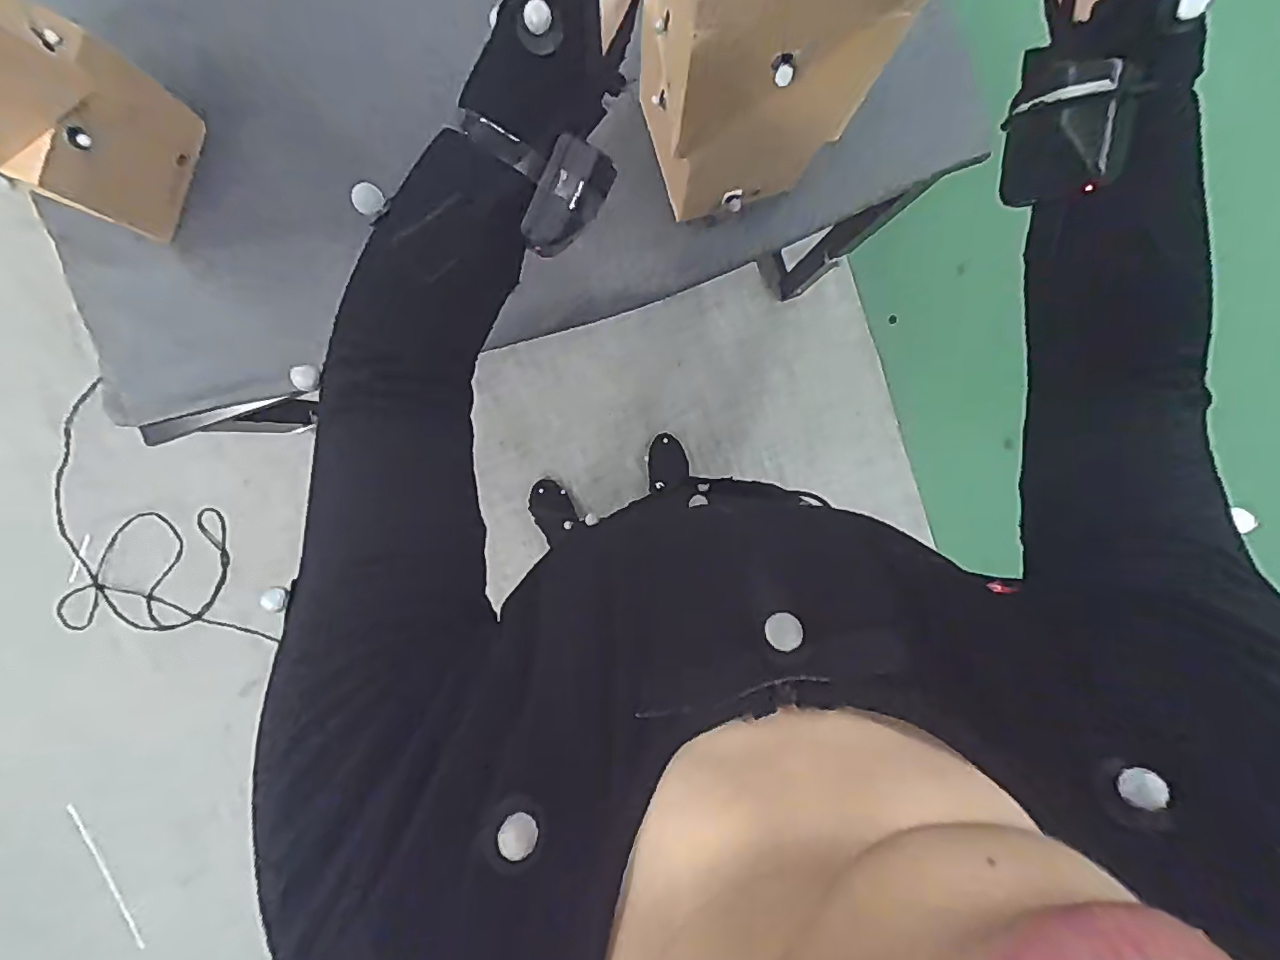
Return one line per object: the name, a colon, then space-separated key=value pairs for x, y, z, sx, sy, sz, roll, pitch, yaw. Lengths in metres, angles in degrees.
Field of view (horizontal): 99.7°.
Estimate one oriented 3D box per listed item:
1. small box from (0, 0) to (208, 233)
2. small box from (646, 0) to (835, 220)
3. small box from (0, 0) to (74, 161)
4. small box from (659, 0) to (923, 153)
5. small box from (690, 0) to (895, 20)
small box: x=-0.658 y=-0.412 z=0.615 sx=0.179 sy=0.176 sz=0.168 roll=21 pitch=94 yaw=-4
small box: x=0.107 y=-0.443 z=0.635 sx=0.168 sy=0.176 sz=0.179 roll=-17 pitch=94 yaw=1
small box: x=-0.651 y=-0.395 z=0.451 sx=0.179 sy=0.176 sz=0.168 roll=-37 pitch=95 yaw=2
small box: x=0.114 y=-0.420 z=0.474 sx=0.179 sy=0.176 sz=0.168 roll=-7 pitch=93 yaw=1
small box: x=0.117 y=-0.415 z=0.309 sx=0.179 sy=0.176 sz=0.168 roll=-5 pitch=92 yaw=1
